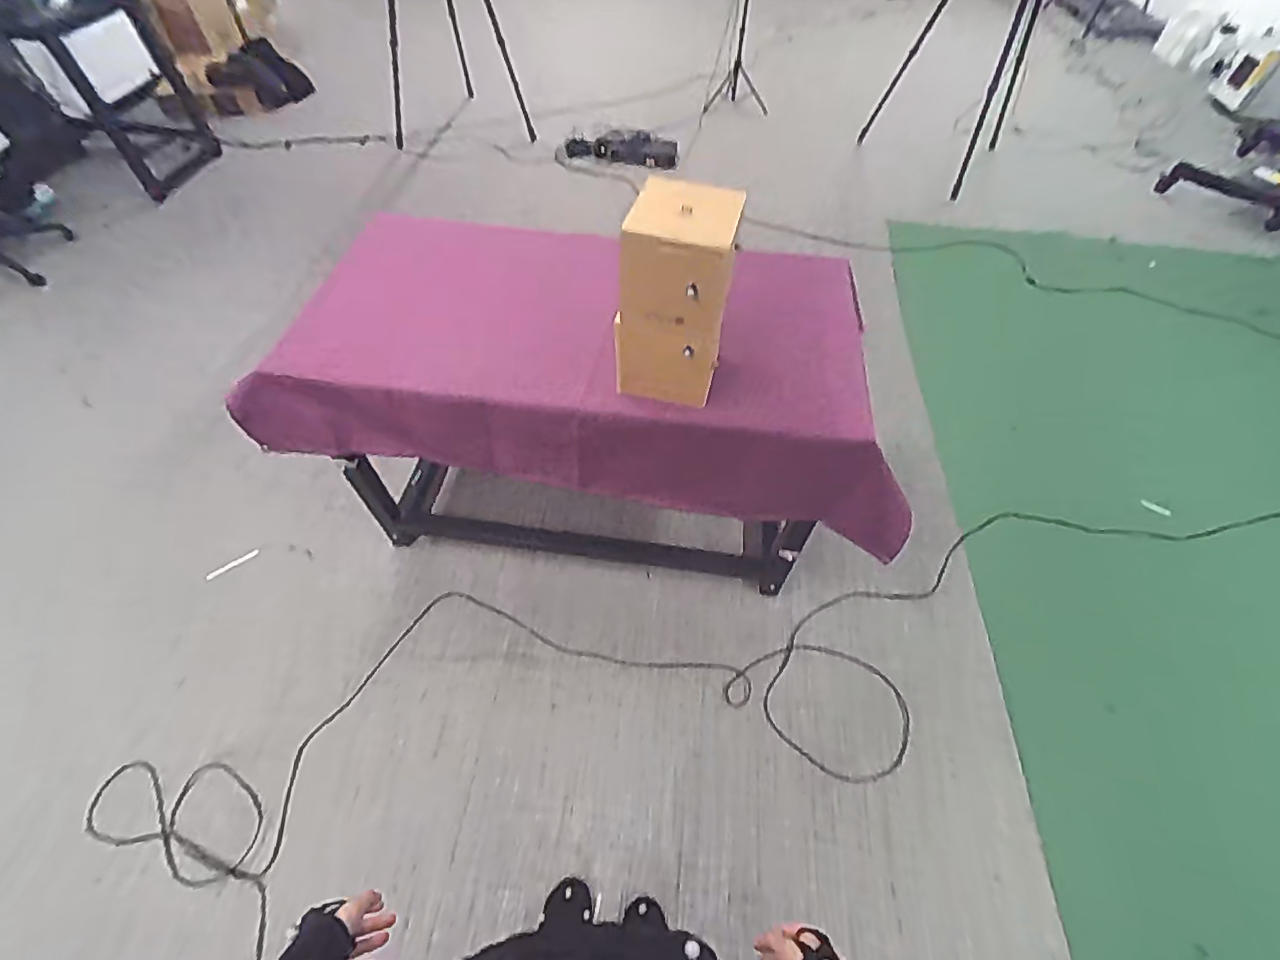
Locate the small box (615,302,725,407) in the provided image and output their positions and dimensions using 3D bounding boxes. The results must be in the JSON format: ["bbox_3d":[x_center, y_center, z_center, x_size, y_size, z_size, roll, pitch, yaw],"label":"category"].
[{"bbox_3d":[0.056,-0.261,1.036,0.179,0.176,0.168,12,53,7],"label":"small box"}]

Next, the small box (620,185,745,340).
[{"bbox_3d":[0.069,-0.362,0.909,0.168,0.176,0.179,14,53,8],"label":"small box"}]
